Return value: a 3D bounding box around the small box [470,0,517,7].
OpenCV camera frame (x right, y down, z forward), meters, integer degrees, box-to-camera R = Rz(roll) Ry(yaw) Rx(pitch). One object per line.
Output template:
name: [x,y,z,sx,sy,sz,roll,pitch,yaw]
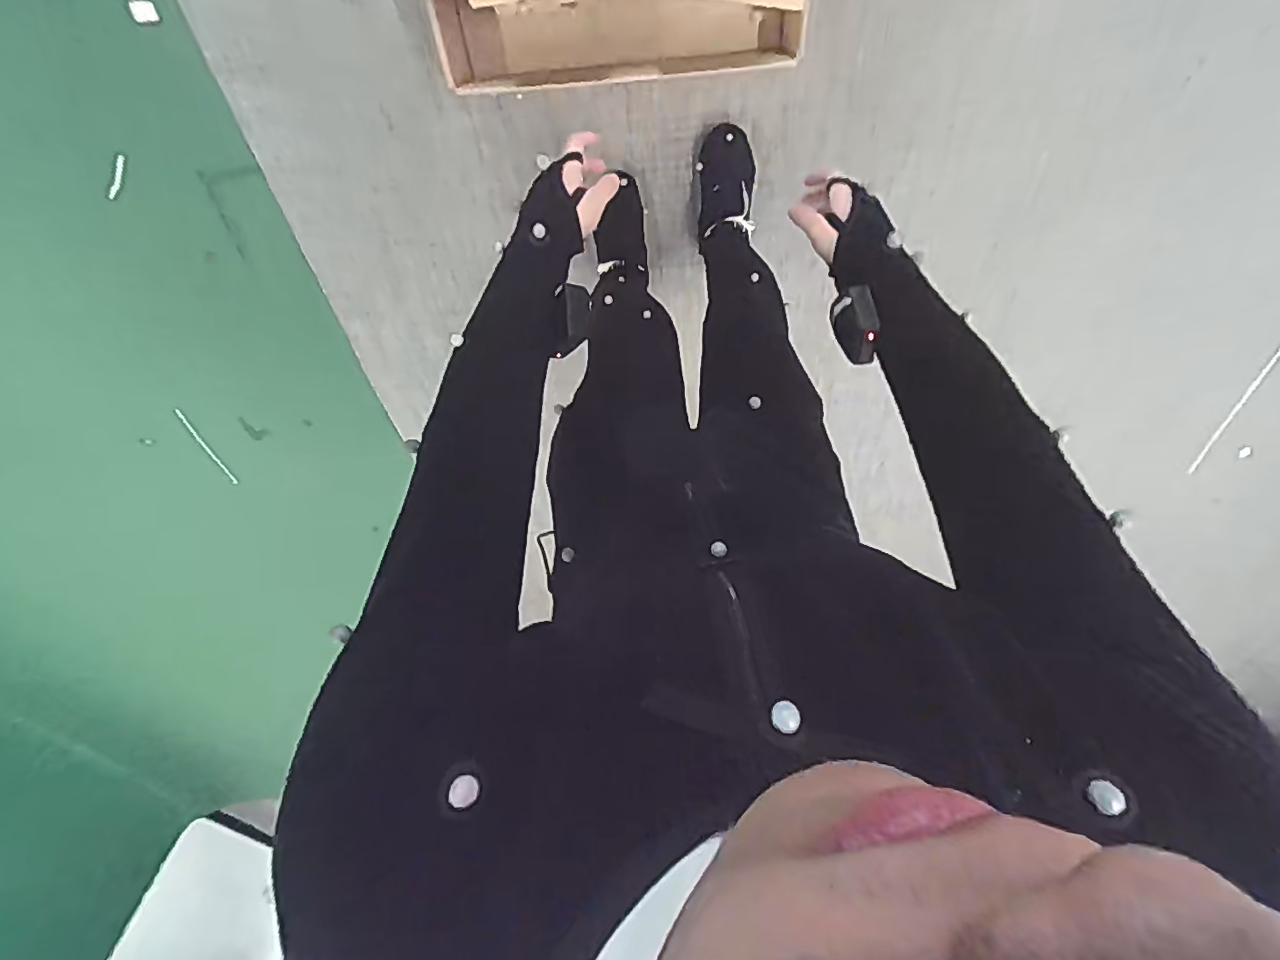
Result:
small box: [-0.158,-0.764,0.724,0.168,0.176,0.179,-6,132,4]
